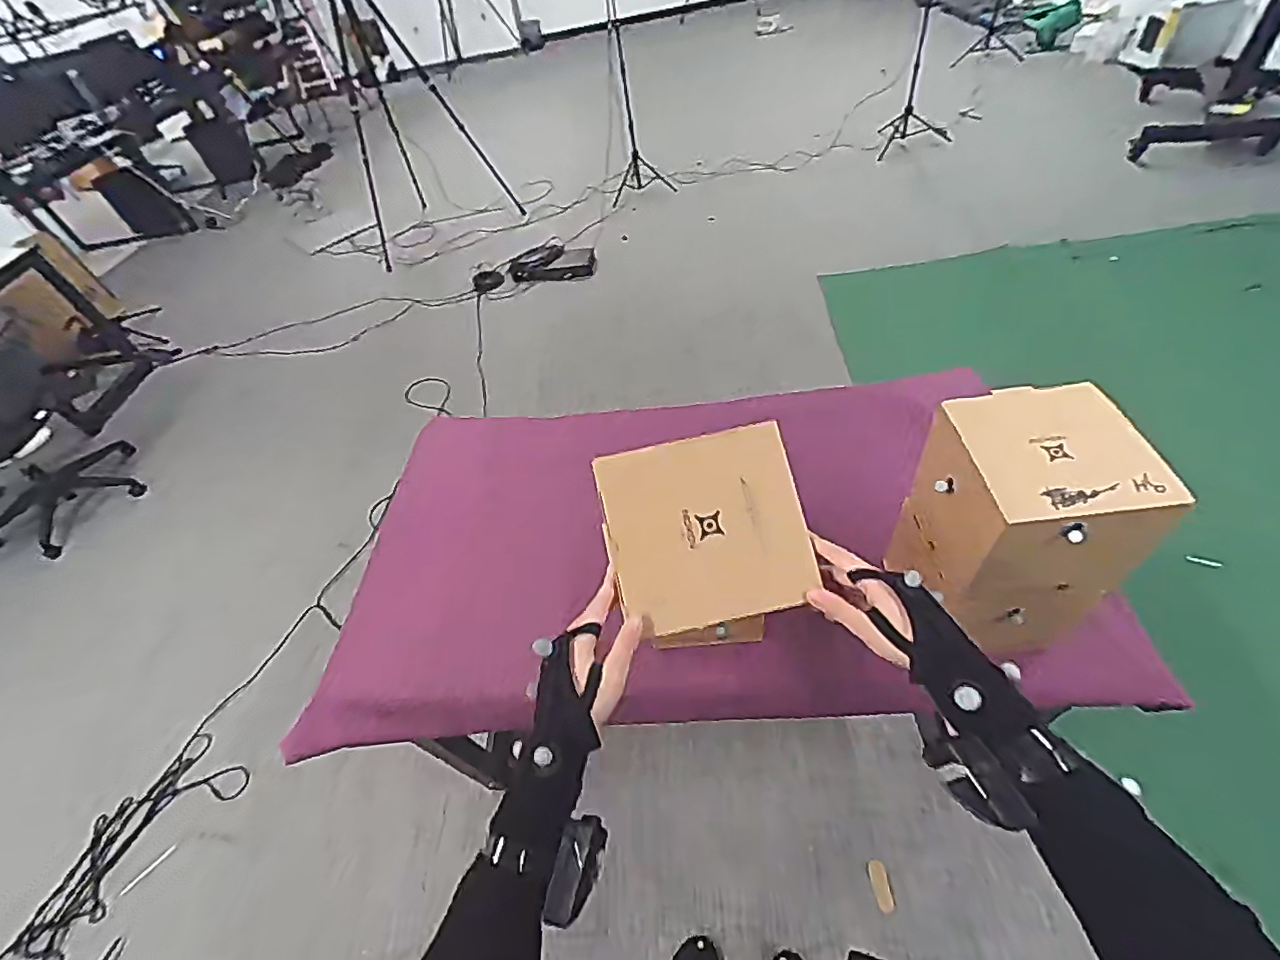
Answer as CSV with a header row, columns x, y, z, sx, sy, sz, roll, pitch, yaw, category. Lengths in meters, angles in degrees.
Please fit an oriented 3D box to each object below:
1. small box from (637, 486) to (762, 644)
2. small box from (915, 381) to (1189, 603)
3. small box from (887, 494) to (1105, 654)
x,y,z,sx,sy,sz,roll,pitch,yaw,category
0.090,0.134,0.815,0.168,0.176,0.179,-7,47,7,small box
0.436,0.017,0.618,0.168,0.176,0.179,-9,48,8,small box
0.462,0.123,0.739,0.179,0.176,0.168,-9,49,7,small box
